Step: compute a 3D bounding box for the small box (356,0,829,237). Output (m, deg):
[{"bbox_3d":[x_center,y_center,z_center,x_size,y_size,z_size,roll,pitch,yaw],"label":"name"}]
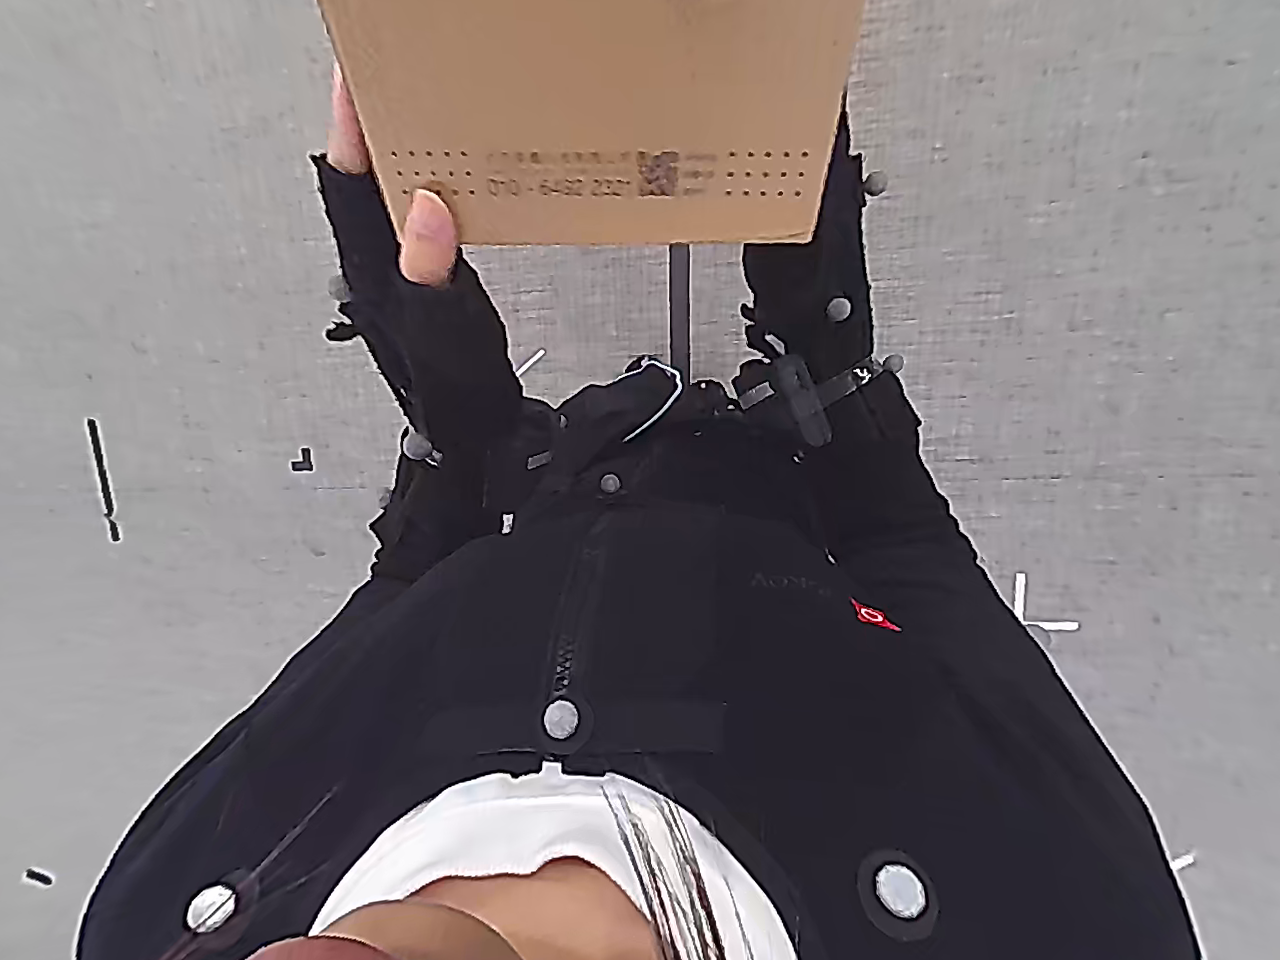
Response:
[{"bbox_3d":[-0.012,-0.220,0.233,0.168,0.179,0.176,2,137,3],"label":"small box"}]
